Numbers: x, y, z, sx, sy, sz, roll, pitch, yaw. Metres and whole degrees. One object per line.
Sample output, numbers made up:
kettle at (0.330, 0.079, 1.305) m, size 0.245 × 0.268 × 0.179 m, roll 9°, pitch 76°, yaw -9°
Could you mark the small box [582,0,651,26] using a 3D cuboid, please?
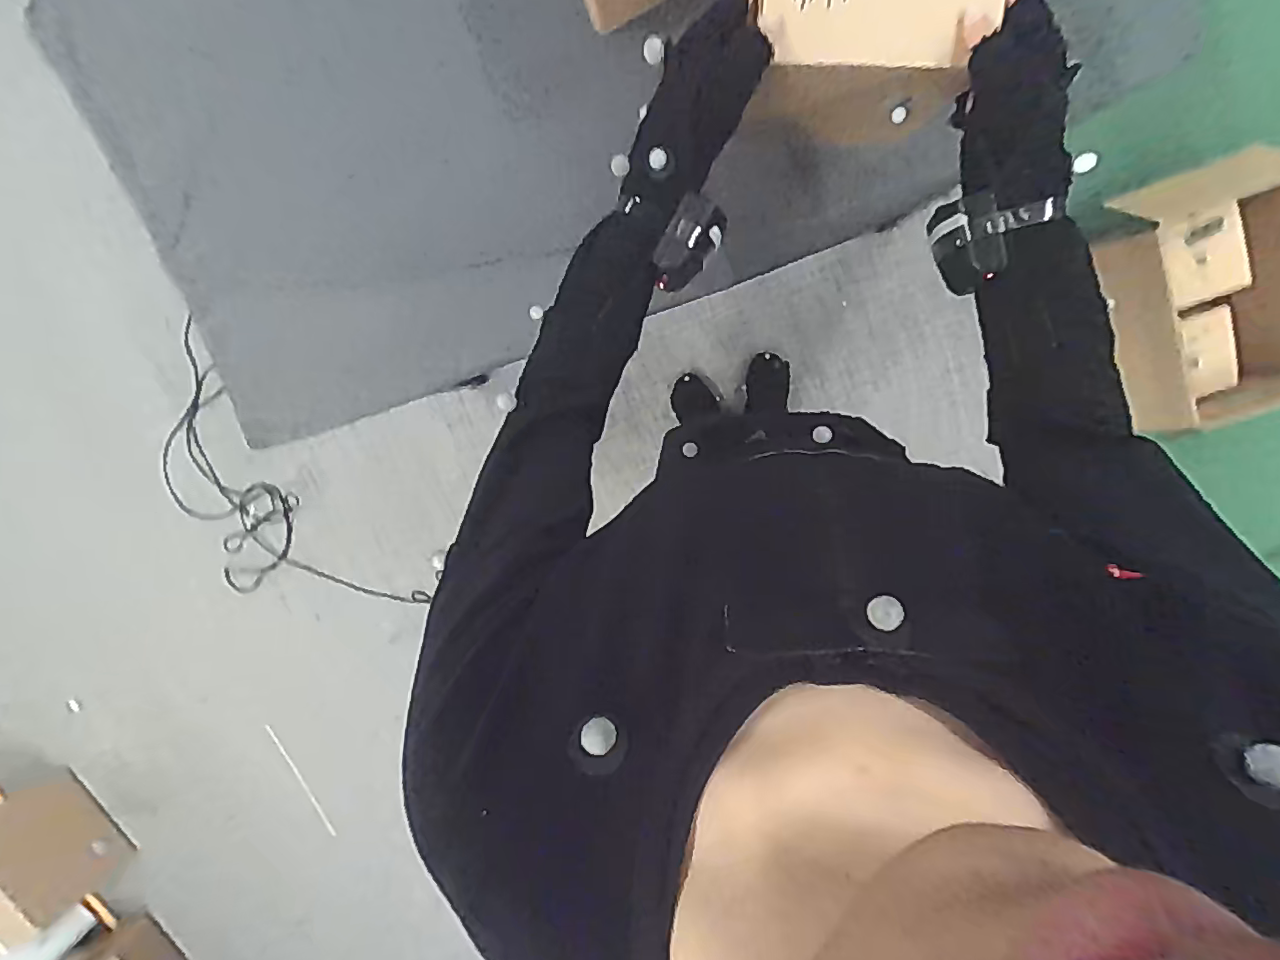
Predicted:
small box at (-0.012, -0.609, 0.525) m, size 0.179 × 0.176 × 0.168 m, roll -23°, pitch 100°, yaw 11°
